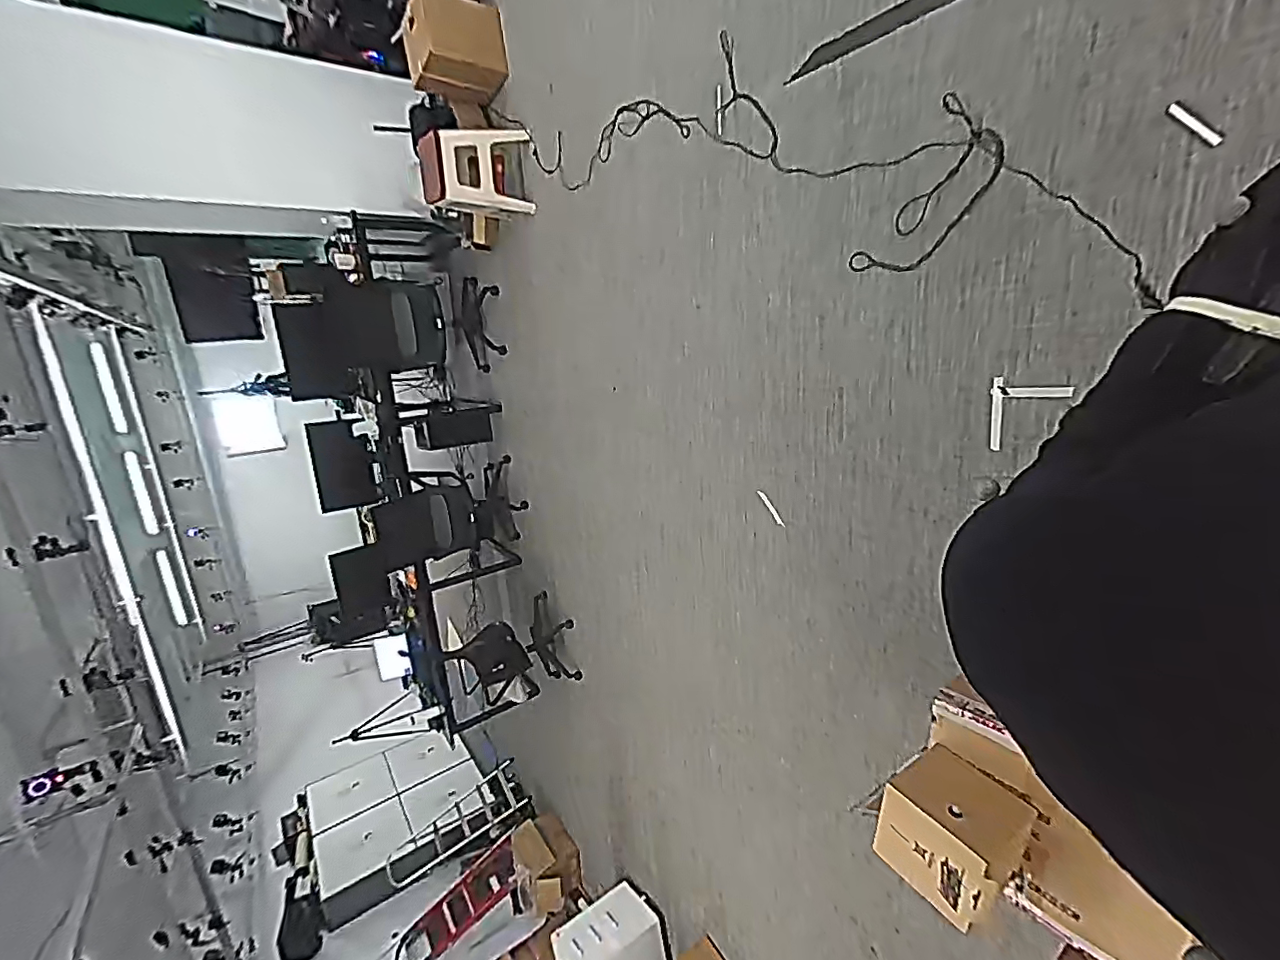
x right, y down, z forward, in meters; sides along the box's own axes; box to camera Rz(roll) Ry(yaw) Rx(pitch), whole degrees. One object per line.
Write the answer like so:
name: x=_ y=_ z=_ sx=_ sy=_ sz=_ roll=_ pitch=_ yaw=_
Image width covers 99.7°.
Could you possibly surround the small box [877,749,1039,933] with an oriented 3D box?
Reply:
small box: x=0.555 y=0.616 z=0.949 sx=0.179 sy=0.176 sz=0.168 roll=28 pitch=122 yaw=53
